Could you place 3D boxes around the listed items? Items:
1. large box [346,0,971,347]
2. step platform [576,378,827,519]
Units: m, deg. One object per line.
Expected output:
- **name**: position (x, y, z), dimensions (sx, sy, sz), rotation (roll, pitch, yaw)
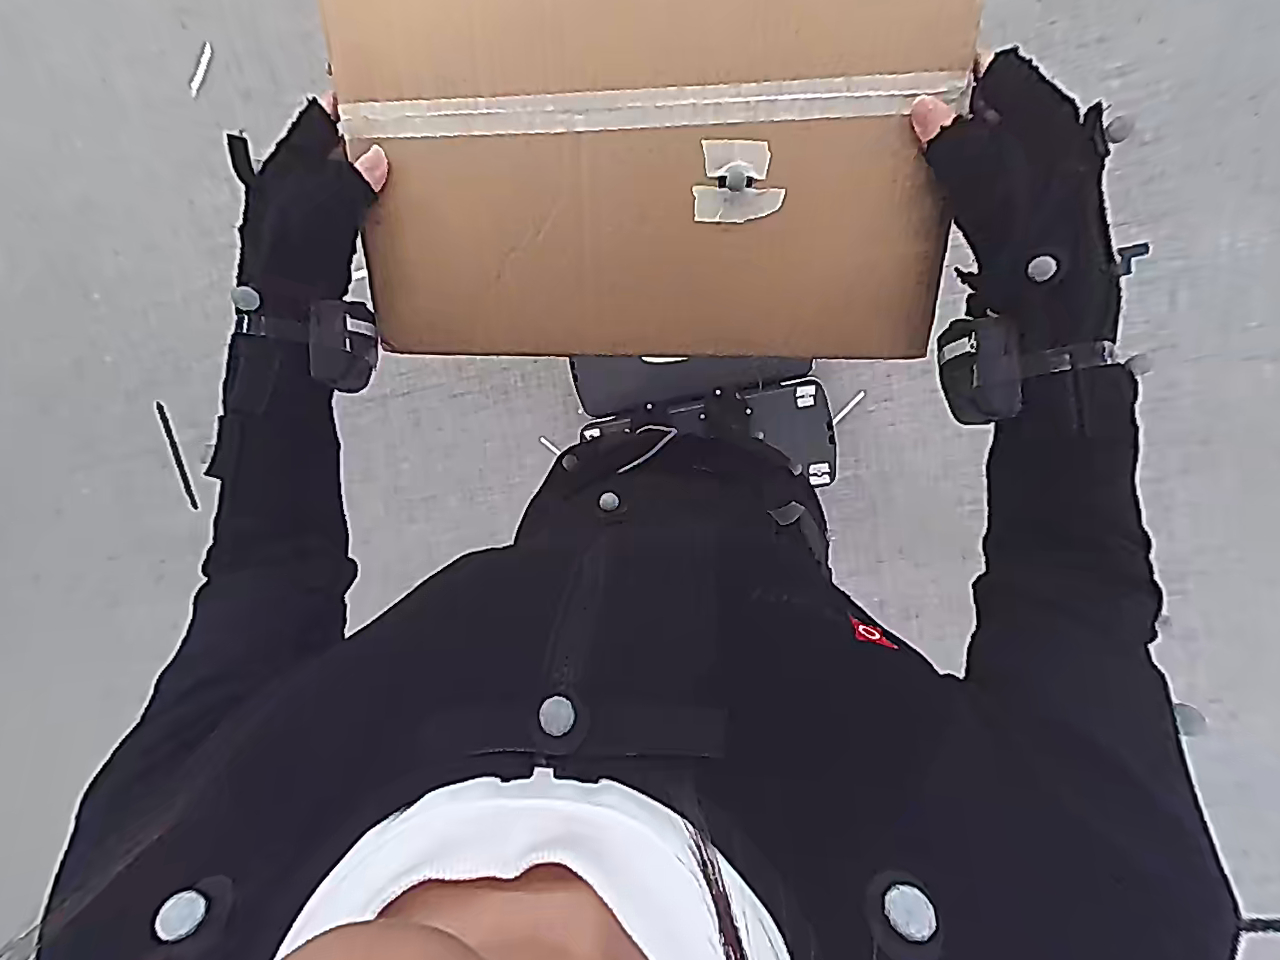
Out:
- **large box**: position (0.017, -0.299, 0.500), dimensions (0.408, 0.320, 0.320), rotation (2, 111, 6)
- **step platform**: position (0.165, -0.082, 1.518), dimensions (0.684, 0.204, 0.286), rotation (-10, 98, 13)
